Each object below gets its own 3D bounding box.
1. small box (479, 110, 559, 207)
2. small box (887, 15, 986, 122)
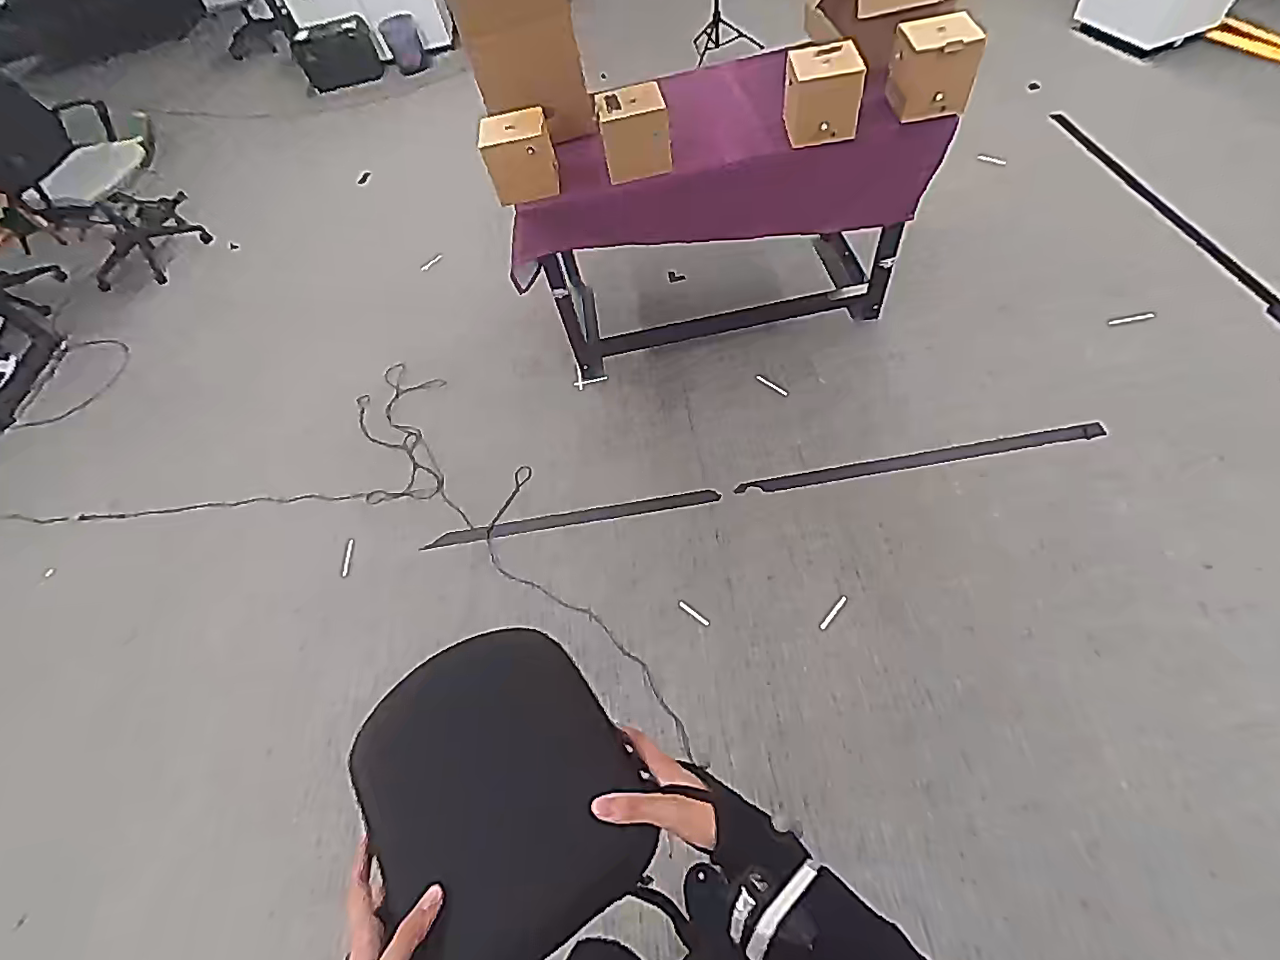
[{"bbox_3d":[-0.335,-0.899,1.524,0.179,0.176,0.168,-10,57,3],"label":"small box"},{"bbox_3d":[0.772,-1.085,1.431,0.168,0.176,0.179,-5,57,8],"label":"small box"}]
